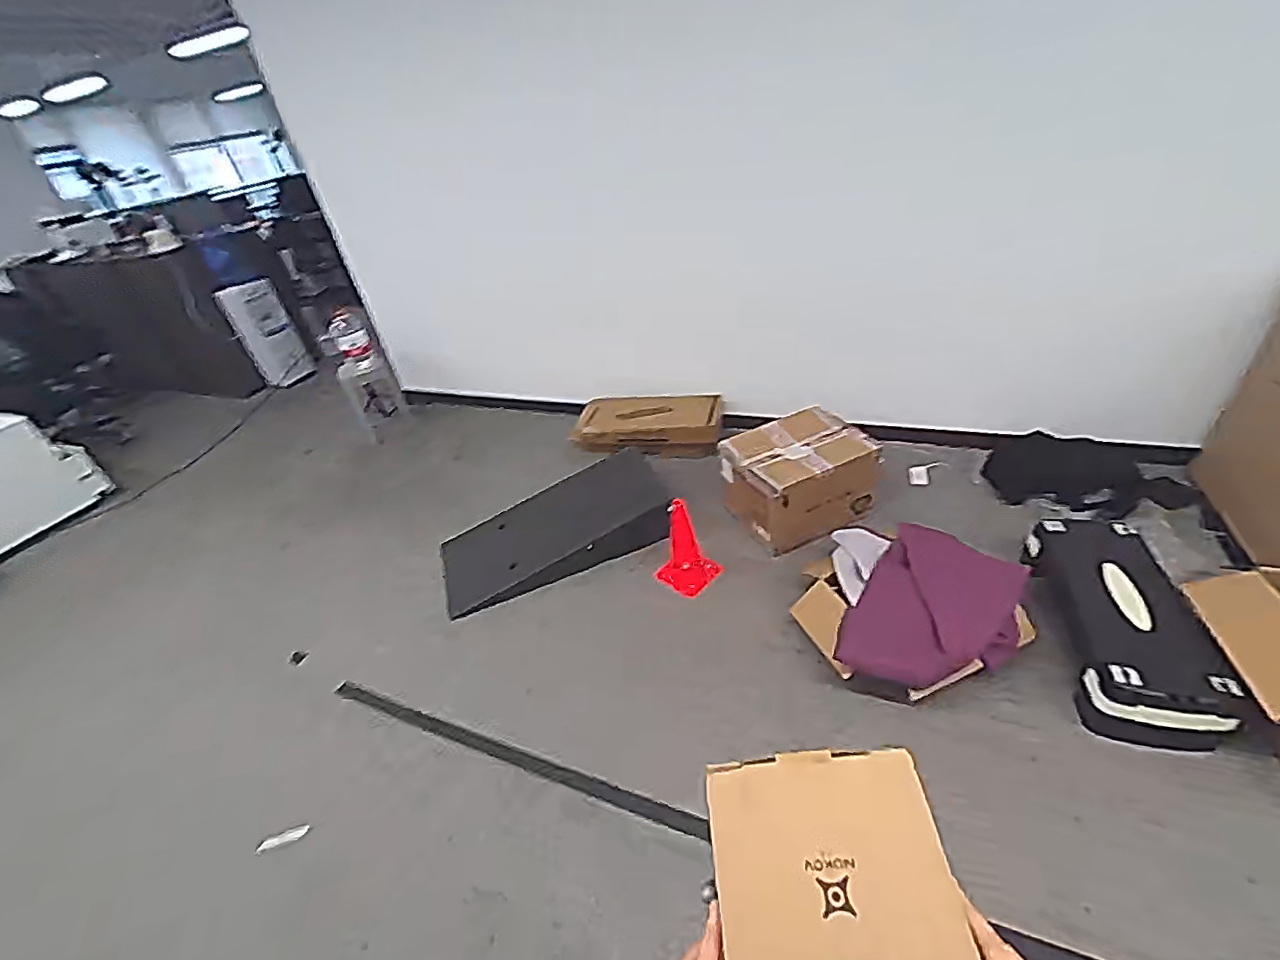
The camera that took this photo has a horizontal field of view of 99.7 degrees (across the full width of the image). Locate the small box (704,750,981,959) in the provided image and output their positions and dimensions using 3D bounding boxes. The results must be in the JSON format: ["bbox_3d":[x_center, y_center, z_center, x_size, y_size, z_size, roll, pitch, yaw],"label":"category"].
[{"bbox_3d":[0.144,0.338,0.433,0.168,0.176,0.179,-8,49,4],"label":"small box"}]
